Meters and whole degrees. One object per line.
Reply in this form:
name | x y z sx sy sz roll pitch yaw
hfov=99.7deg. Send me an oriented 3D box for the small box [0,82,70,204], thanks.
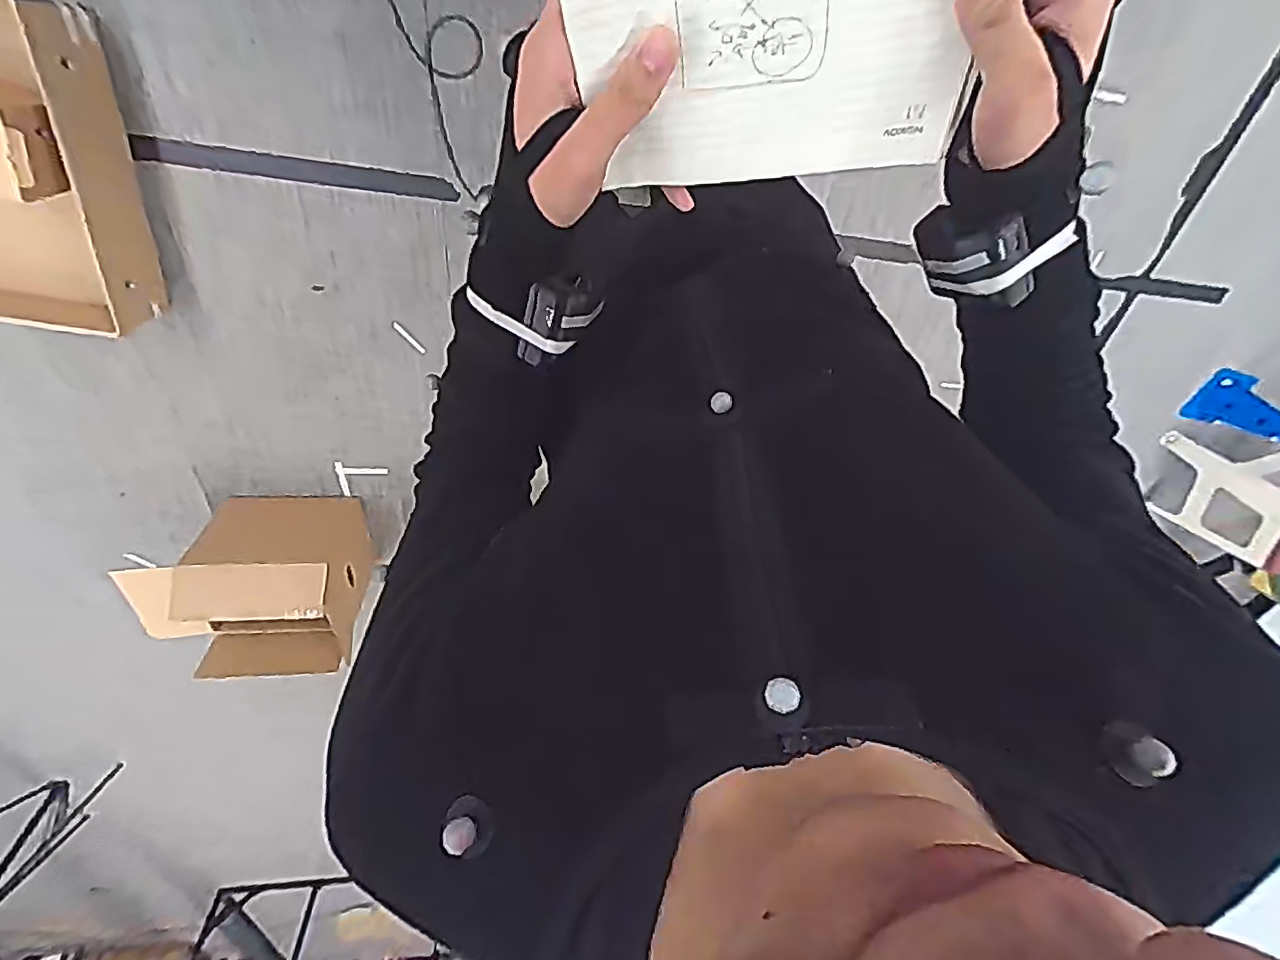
small box | -1.246 -0.657 1.028 0.179 0.176 0.168 14 124 -18
